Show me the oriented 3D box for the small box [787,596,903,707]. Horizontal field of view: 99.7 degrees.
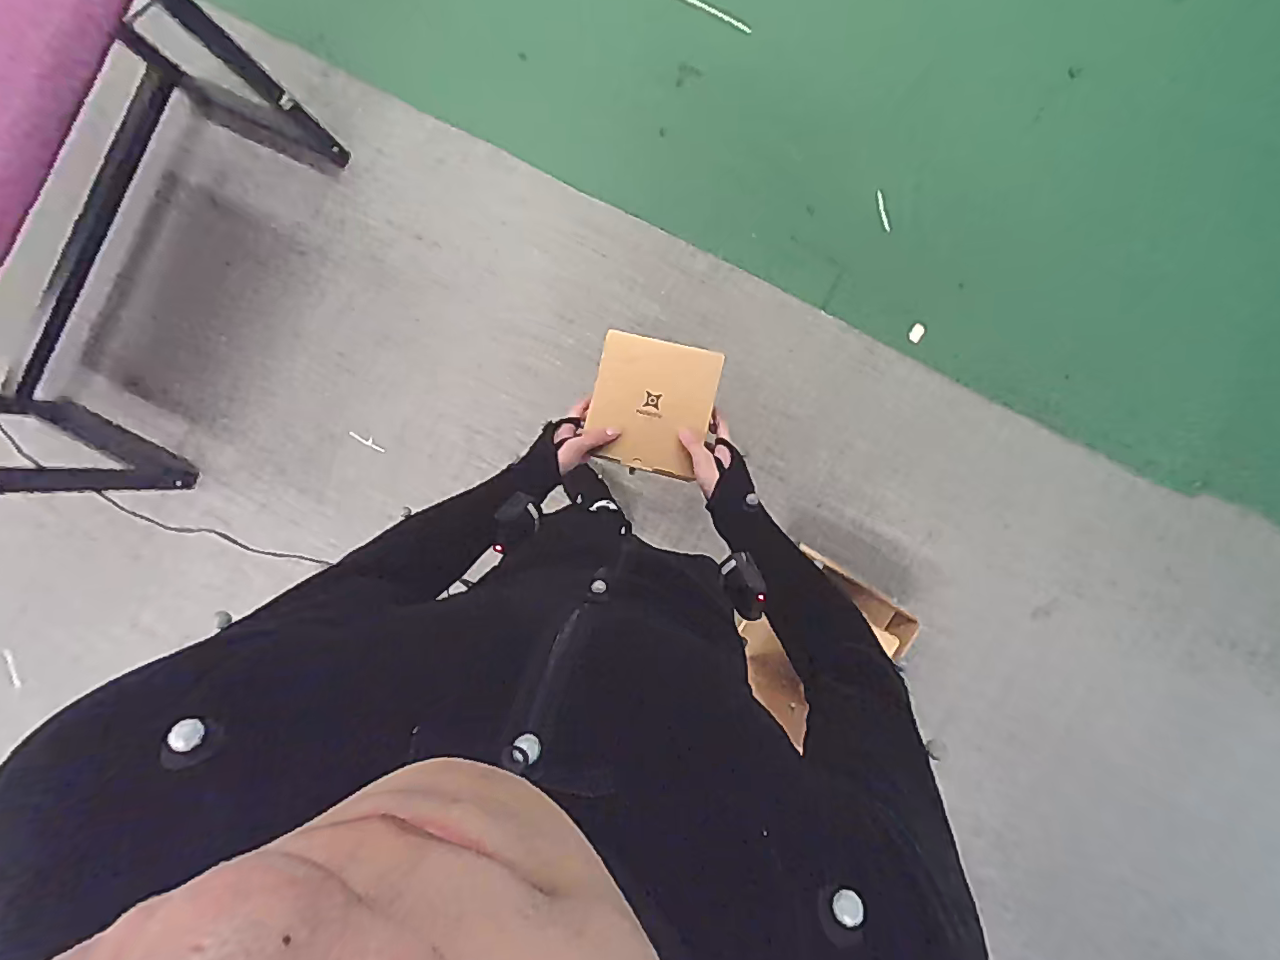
[{"bbox_3d":[0.482,0.400,1.297,0.179,0.176,0.168,30,91,2],"label":"small box"}]
